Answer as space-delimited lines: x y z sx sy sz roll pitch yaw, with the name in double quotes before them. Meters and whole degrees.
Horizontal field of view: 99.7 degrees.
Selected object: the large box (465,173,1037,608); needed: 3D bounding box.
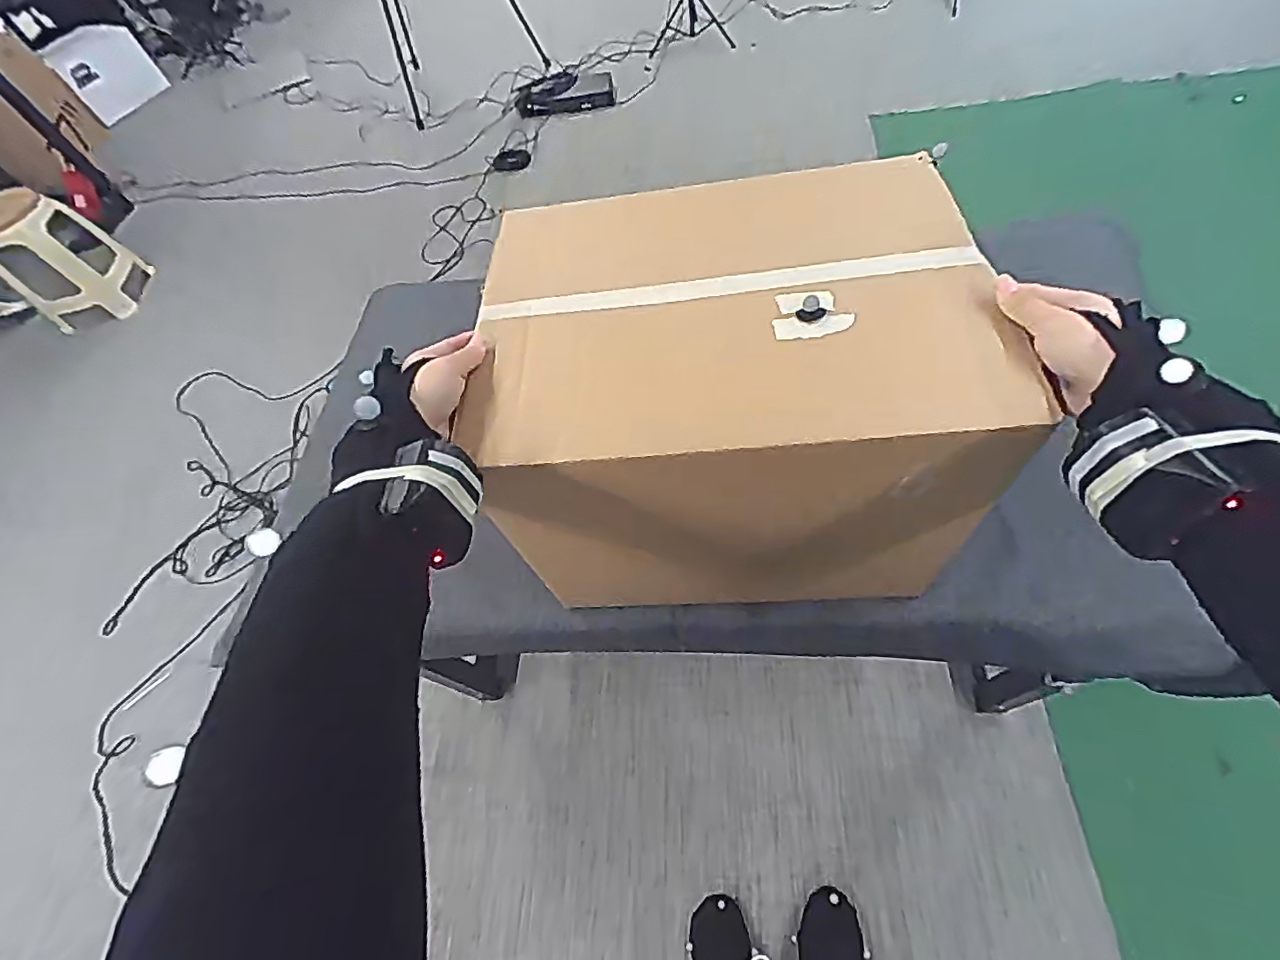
"large box" 0.084 -0.070 0.578 0.408 0.320 0.320 -4 57 7
